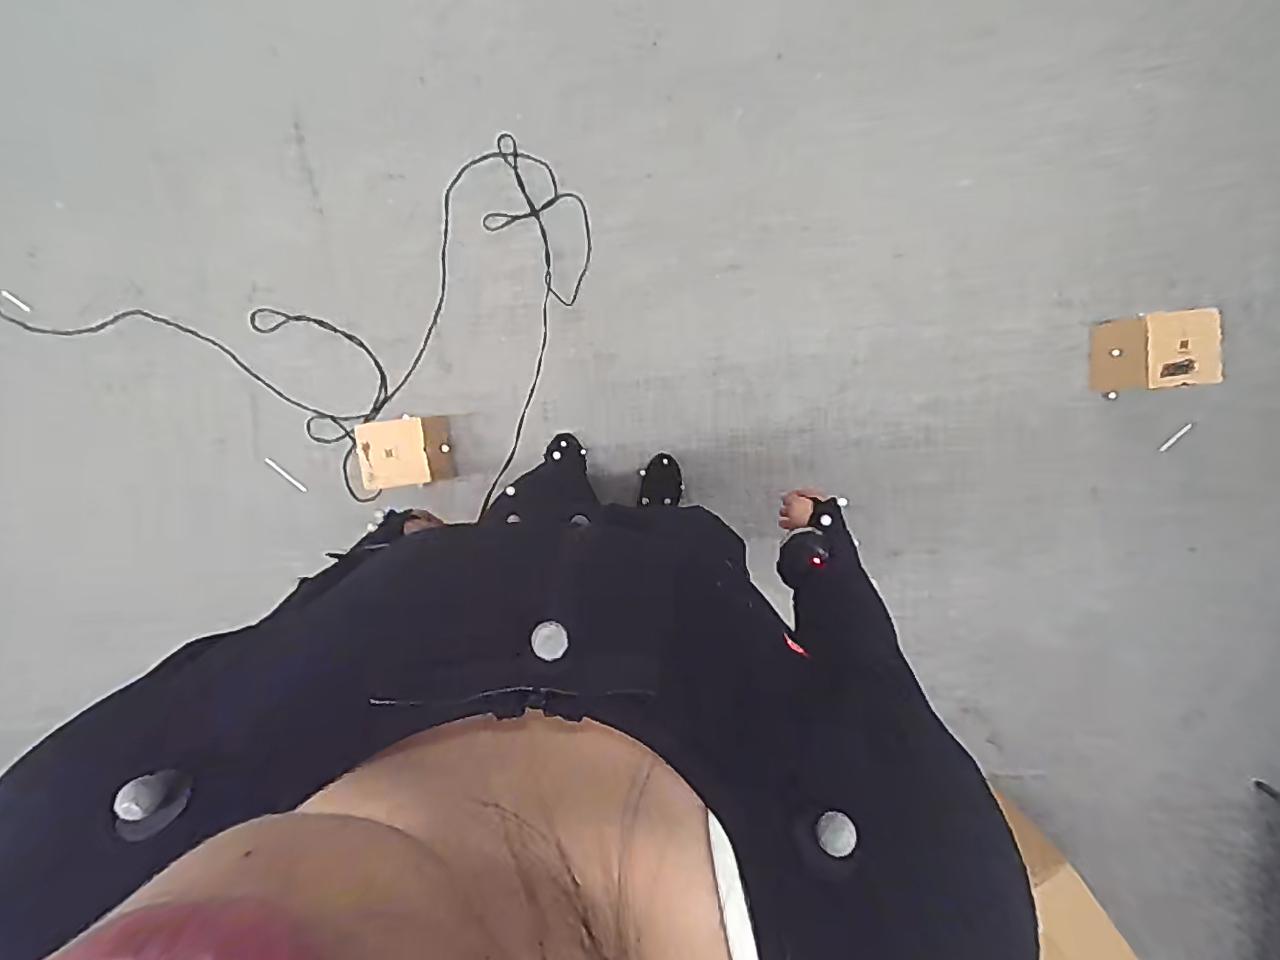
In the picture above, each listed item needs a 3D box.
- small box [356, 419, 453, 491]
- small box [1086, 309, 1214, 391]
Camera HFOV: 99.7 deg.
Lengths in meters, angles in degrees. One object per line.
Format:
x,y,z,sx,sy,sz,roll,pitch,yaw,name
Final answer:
-0.605,-0.070,1.415,0.179,0.176,0.168,-7,94,1,small box
1.254,-0.315,1.342,0.168,0.176,0.179,-4,95,2,small box
